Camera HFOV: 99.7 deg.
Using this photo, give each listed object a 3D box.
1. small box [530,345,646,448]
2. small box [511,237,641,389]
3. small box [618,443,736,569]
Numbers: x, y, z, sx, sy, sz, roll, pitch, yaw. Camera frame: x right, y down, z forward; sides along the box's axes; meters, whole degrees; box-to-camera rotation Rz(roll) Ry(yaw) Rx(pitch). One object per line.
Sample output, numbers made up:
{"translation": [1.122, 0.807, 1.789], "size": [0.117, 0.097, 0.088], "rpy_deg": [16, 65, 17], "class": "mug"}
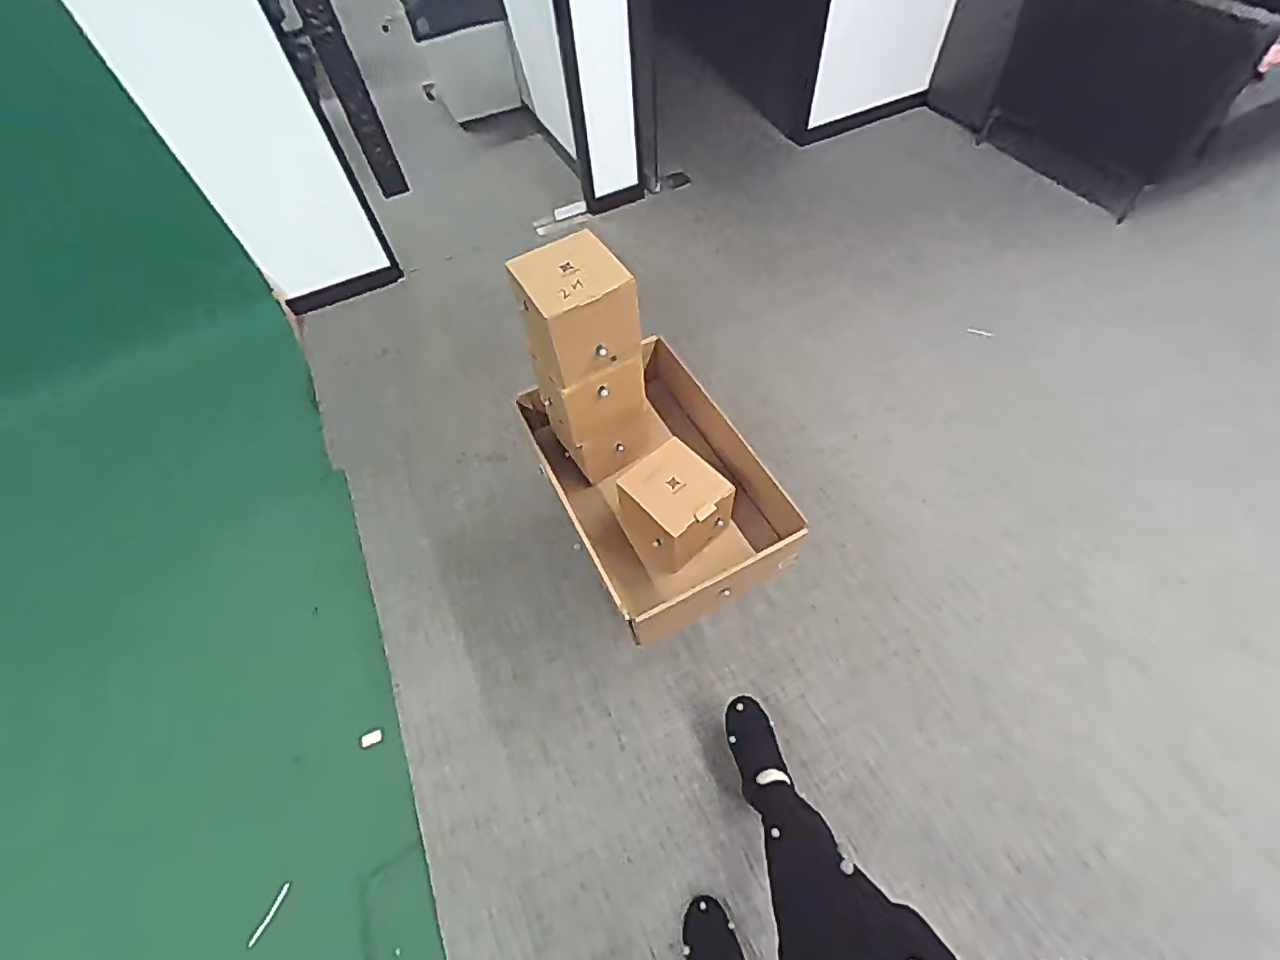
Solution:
{"translation": [-0.100, -0.199, 1.115], "size": [0.179, 0.176, 0.168], "rpy_deg": [-30, 60, -13], "class": "small box"}
{"translation": [-0.111, -0.299, 0.983], "size": [0.168, 0.176, 0.179], "rpy_deg": [-28, 60, -12], "class": "small box"}
{"translation": [0.076, 0.062, 1.127], "size": [0.168, 0.176, 0.179], "rpy_deg": [-36, 61, -19], "class": "small box"}
